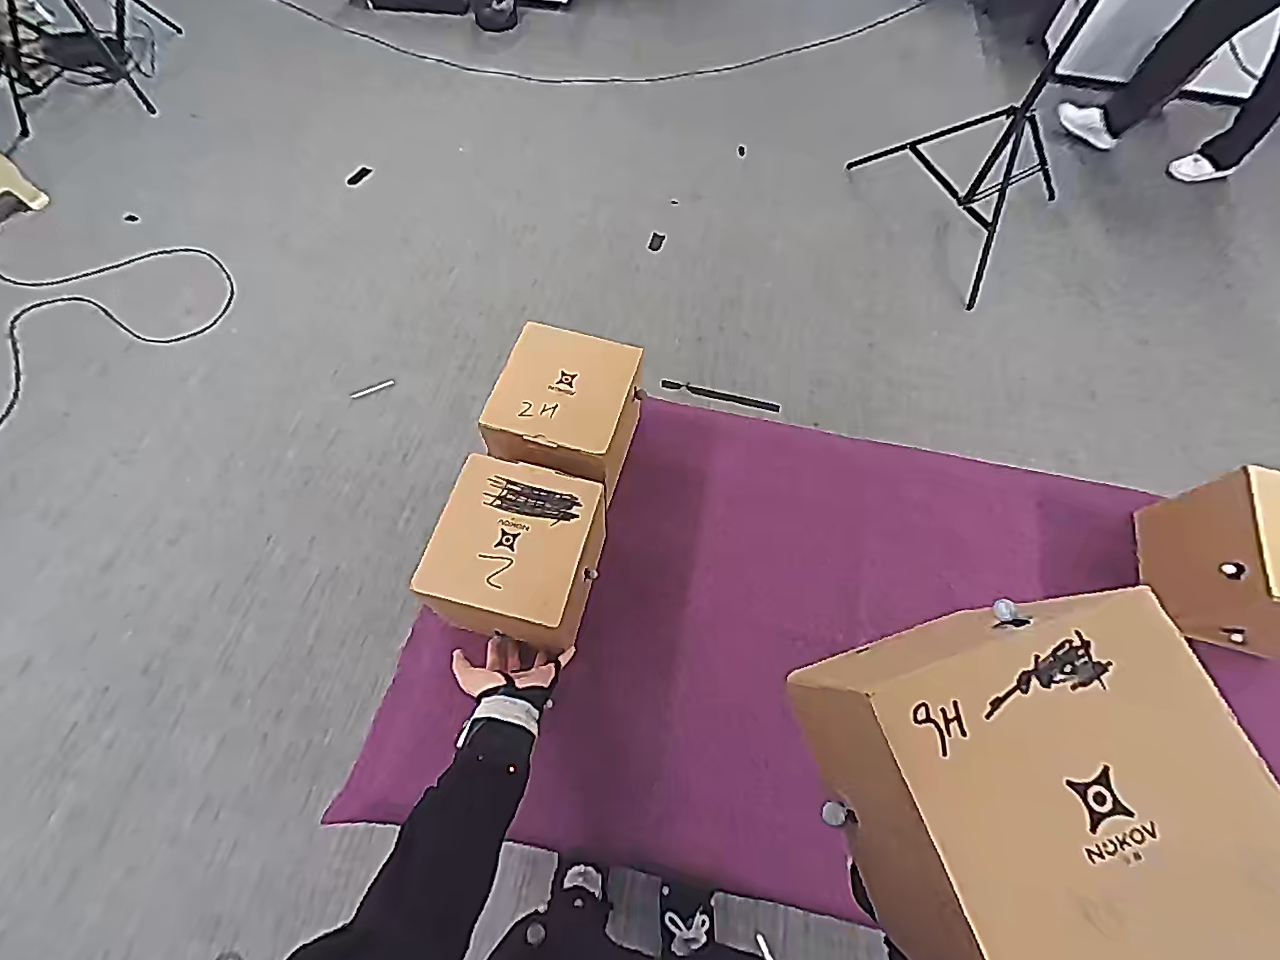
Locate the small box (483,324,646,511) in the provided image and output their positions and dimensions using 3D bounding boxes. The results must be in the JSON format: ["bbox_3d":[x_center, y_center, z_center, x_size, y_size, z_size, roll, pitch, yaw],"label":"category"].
[{"bbox_3d":[-0.098,-0.082,0.764,0.168,0.176,0.179,15,63,5],"label":"small box"}]

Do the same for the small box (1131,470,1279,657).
[{"bbox_3d":[0.795,0.116,0.706,0.168,0.176,0.179,15,67,6],"label":"small box"}]

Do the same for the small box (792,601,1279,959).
[{"bbox_3d":[0.218,0.186,0.333,0.168,0.176,0.179,-17,73,-6],"label":"small box"}]
